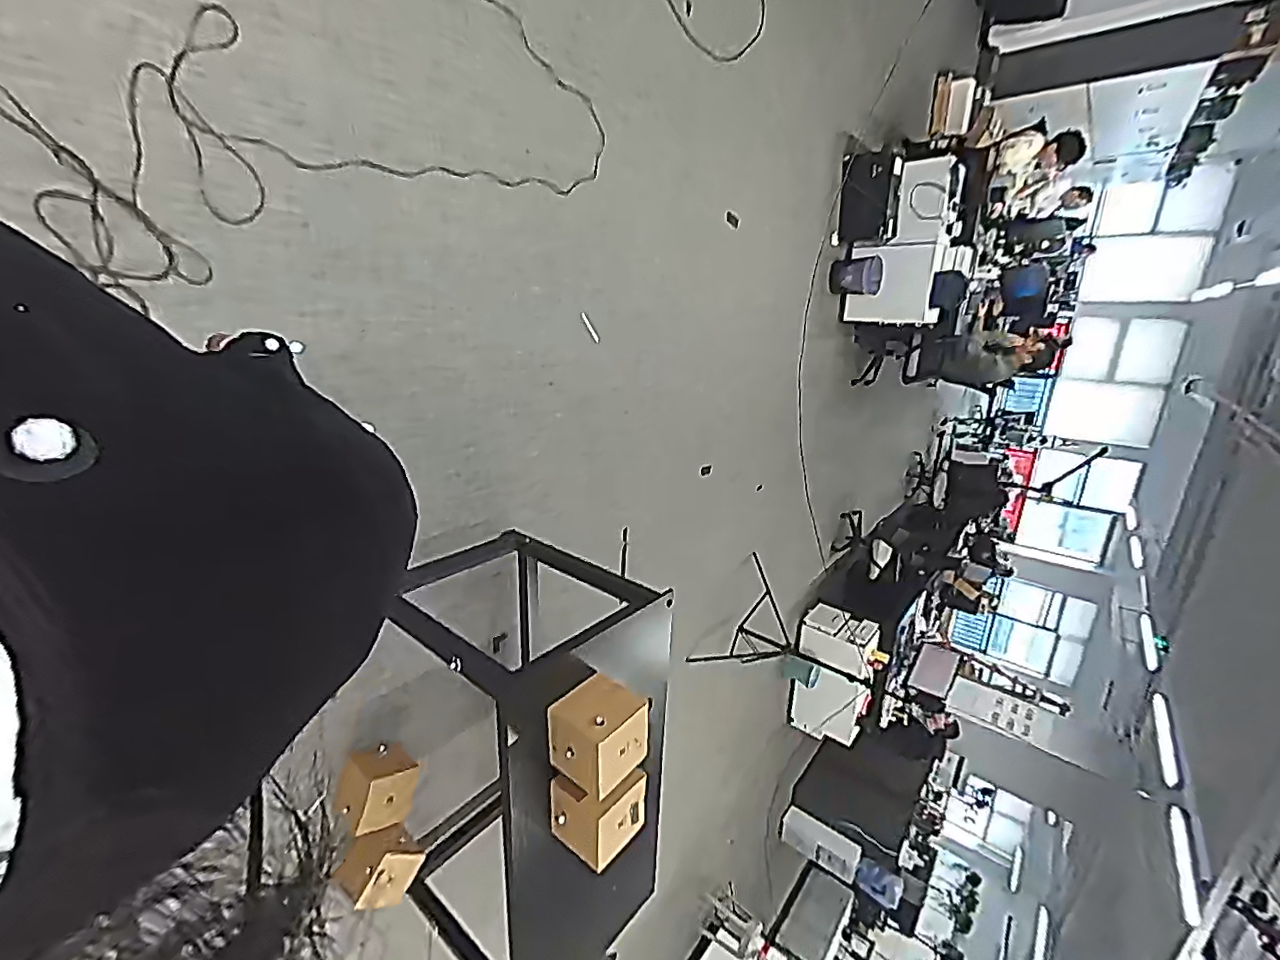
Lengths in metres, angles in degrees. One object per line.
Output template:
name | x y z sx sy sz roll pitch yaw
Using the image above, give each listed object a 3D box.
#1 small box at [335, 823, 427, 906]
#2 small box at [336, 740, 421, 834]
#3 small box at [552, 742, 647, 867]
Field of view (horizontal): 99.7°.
small box | -0.850 1.253 1.775 0.168 0.176 0.179 -61 141 -18
small box | -0.828 0.959 1.705 0.168 0.176 0.179 14 90 -54
small box | -0.103 0.807 1.368 0.179 0.176 0.168 -18 116 -48
